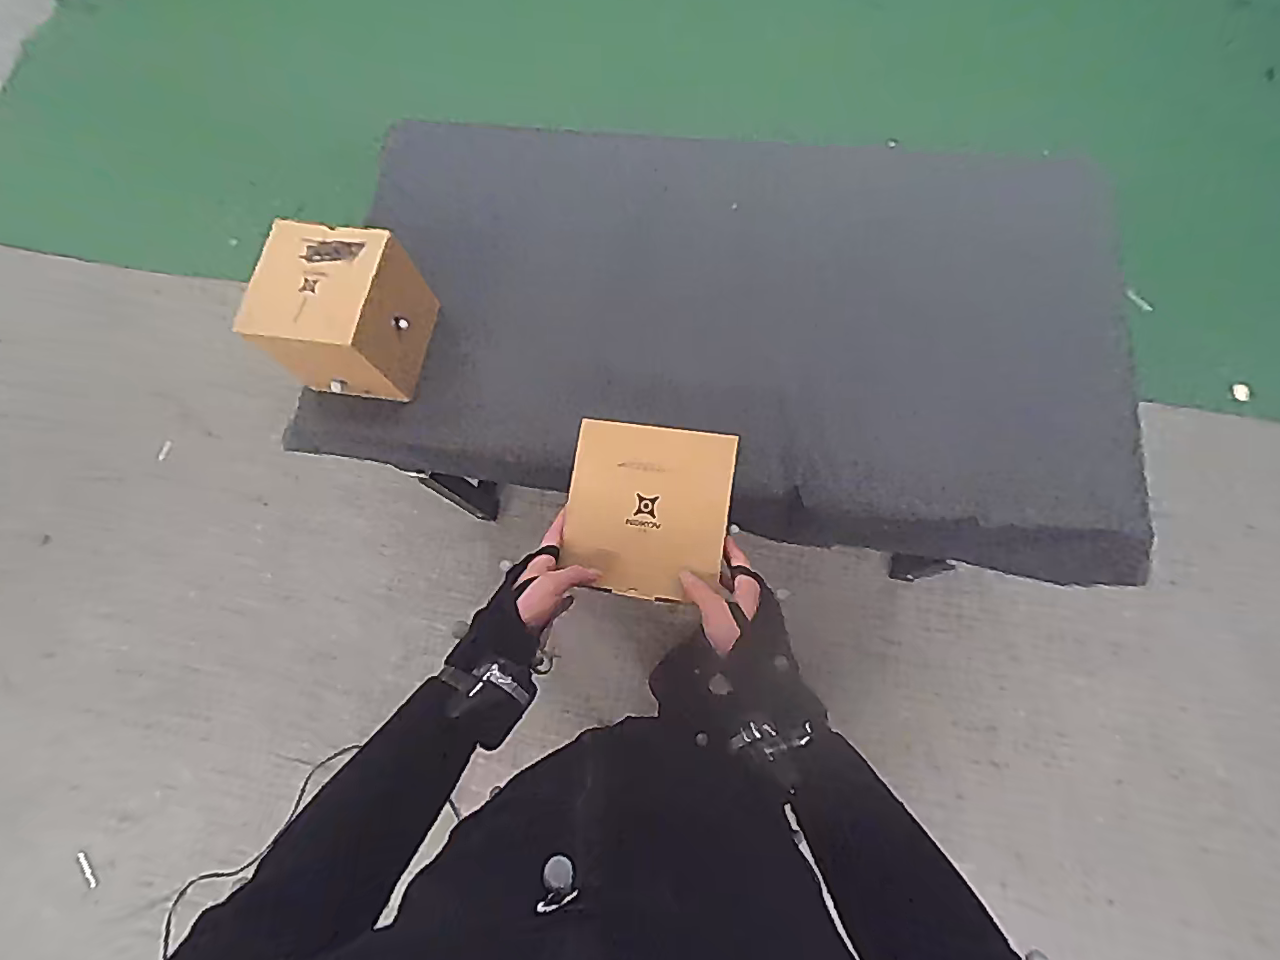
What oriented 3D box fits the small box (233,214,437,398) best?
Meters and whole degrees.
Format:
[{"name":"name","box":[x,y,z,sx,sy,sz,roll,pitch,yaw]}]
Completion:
[{"name":"small box","box":[-0.412,-0.239,0.768,0.168,0.176,0.179,8,74,6]}]

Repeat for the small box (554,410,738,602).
[{"name":"small box","box":[0.016,0.036,0.614,0.168,0.176,0.179,7,80,8]}]
